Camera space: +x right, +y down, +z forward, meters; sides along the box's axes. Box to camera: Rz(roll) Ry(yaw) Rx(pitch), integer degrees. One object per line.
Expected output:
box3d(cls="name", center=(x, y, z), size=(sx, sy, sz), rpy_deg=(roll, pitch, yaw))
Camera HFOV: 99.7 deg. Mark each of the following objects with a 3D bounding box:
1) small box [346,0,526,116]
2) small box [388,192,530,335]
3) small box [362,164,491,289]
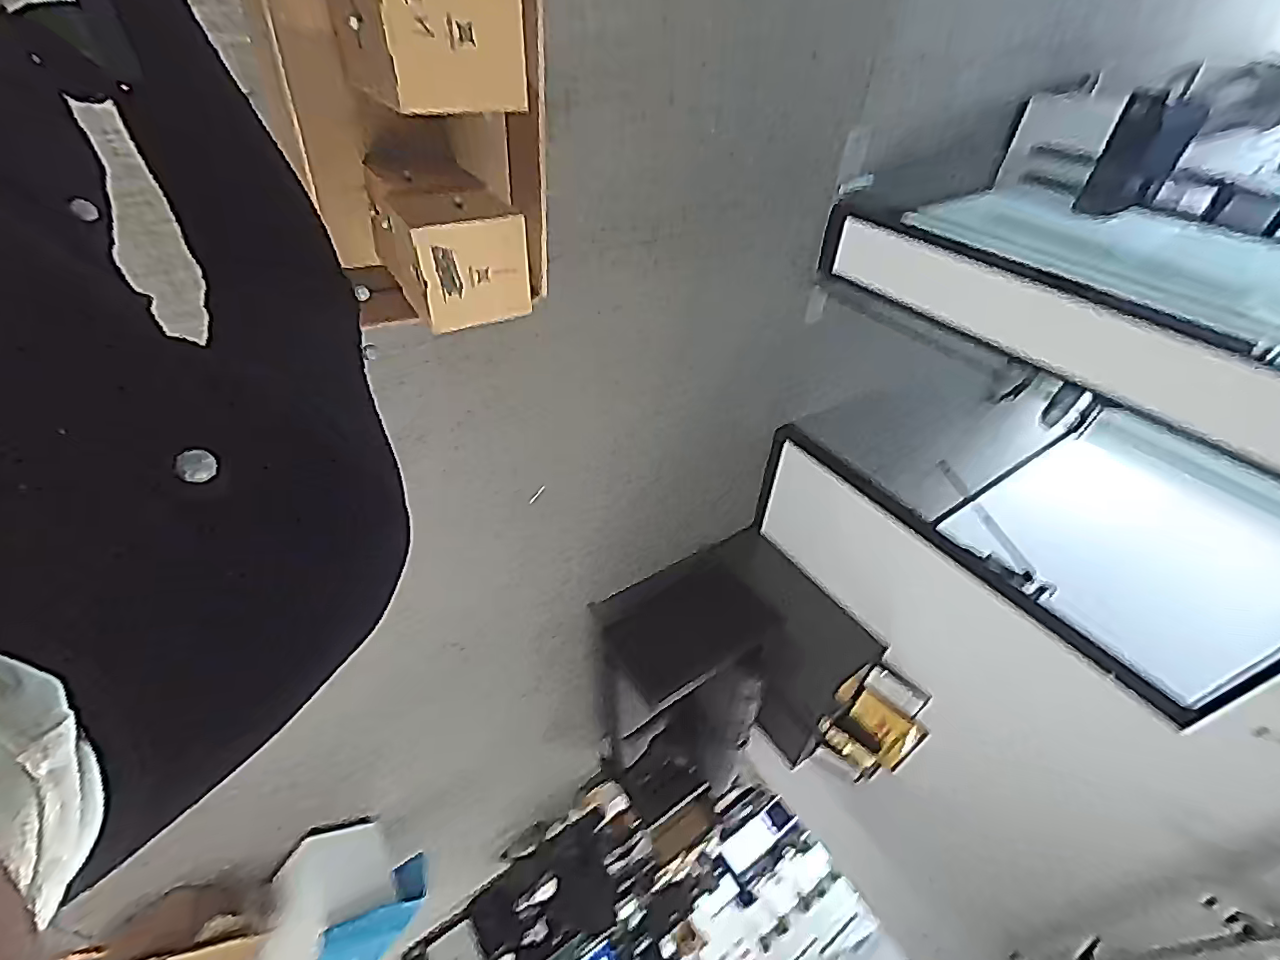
box3d(cls="small box", center=(-0.269, -0.592, 0.712), size=(0.179, 0.176, 0.168), rpy_deg=(-22, 137, -28))
box3d(cls="small box", center=(-0.303, -0.367, 0.901), size=(0.179, 0.176, 0.168), rpy_deg=(-22, 139, -27))
box3d(cls="small box", center=(-0.388, -0.470, 0.997), size=(0.179, 0.176, 0.168), rpy_deg=(-17, 137, -30))
